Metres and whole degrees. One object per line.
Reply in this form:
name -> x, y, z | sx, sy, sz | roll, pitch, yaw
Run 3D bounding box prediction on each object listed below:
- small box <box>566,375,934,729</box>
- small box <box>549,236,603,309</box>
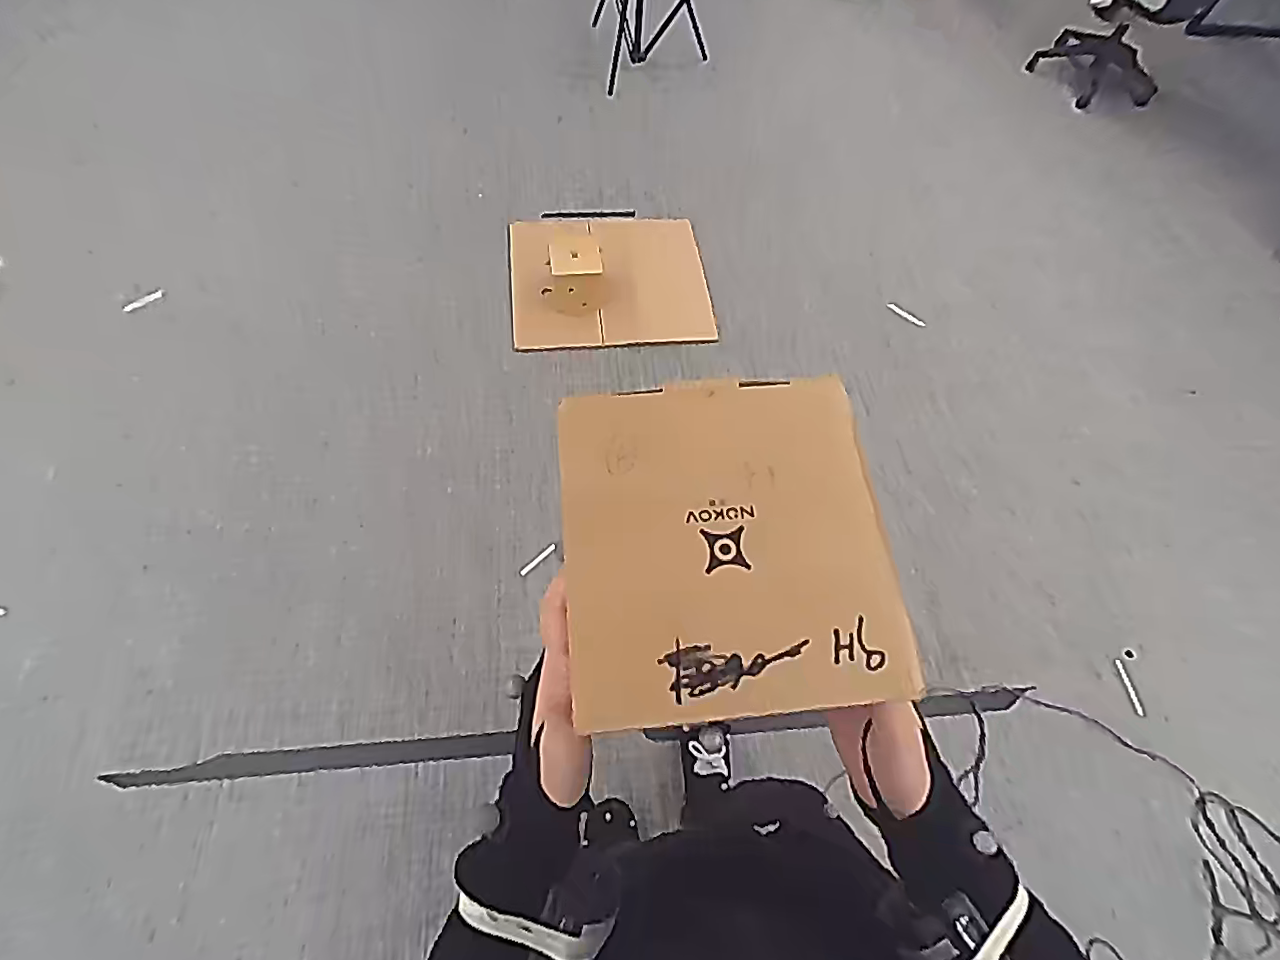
small box -> 0.046, 0.056, 0.348 | 0.168, 0.176, 0.179 | -6, 68, -1
small box -> -0.215, -0.695, 1.830 | 0.168, 0.176, 0.179 | -6, 64, -8
